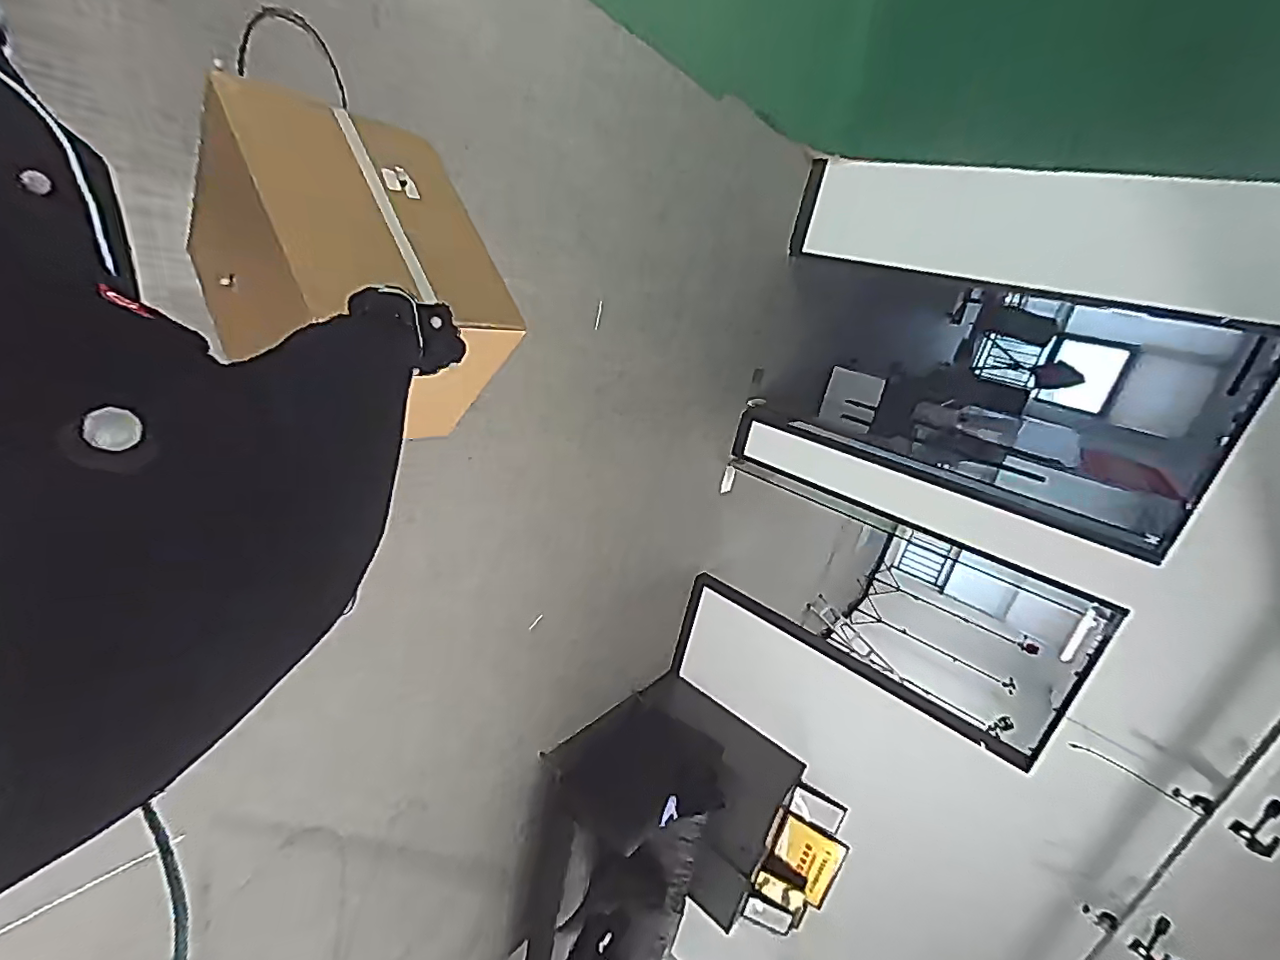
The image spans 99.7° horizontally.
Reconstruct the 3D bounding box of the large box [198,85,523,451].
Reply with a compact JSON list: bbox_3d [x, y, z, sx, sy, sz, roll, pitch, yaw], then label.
[{"bbox_3d":[-0.464,-0.308,0.881,0.320,0.408,0.320,-14,162,-49],"label":"large box"}]
